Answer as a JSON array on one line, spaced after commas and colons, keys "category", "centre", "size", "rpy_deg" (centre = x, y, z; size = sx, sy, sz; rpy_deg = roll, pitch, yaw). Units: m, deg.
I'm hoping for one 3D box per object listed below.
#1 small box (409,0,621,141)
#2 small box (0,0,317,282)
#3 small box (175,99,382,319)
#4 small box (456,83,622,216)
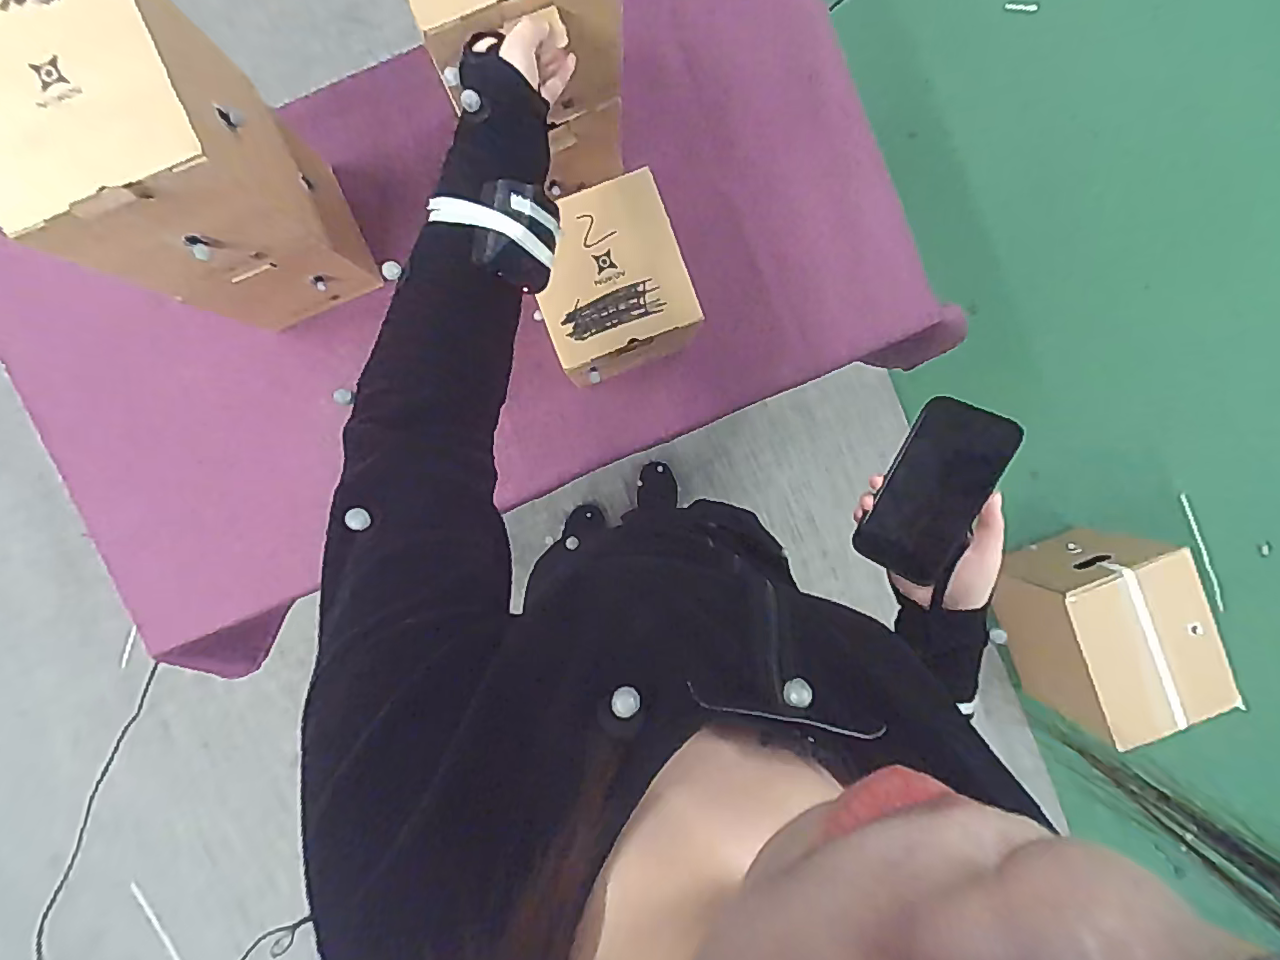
[{"category": "small box", "centre": [-0.124, -0.454, 0.480], "size": [0.168, 0.176, 0.179], "rpy_deg": [-23, 95, 1]}, {"category": "small box", "centre": [-0.437, -0.298, 0.486], "size": [0.168, 0.176, 0.179], "rpy_deg": [-23, 95, -1]}, {"category": "small box", "centre": [-0.448, -0.309, 0.651], "size": [0.168, 0.176, 0.179], "rpy_deg": [-23, 94, 0]}, {"category": "small box", "centre": [-0.131, -0.458, 0.645], "size": [0.168, 0.176, 0.179], "rpy_deg": [-25, 95, 0]}]
